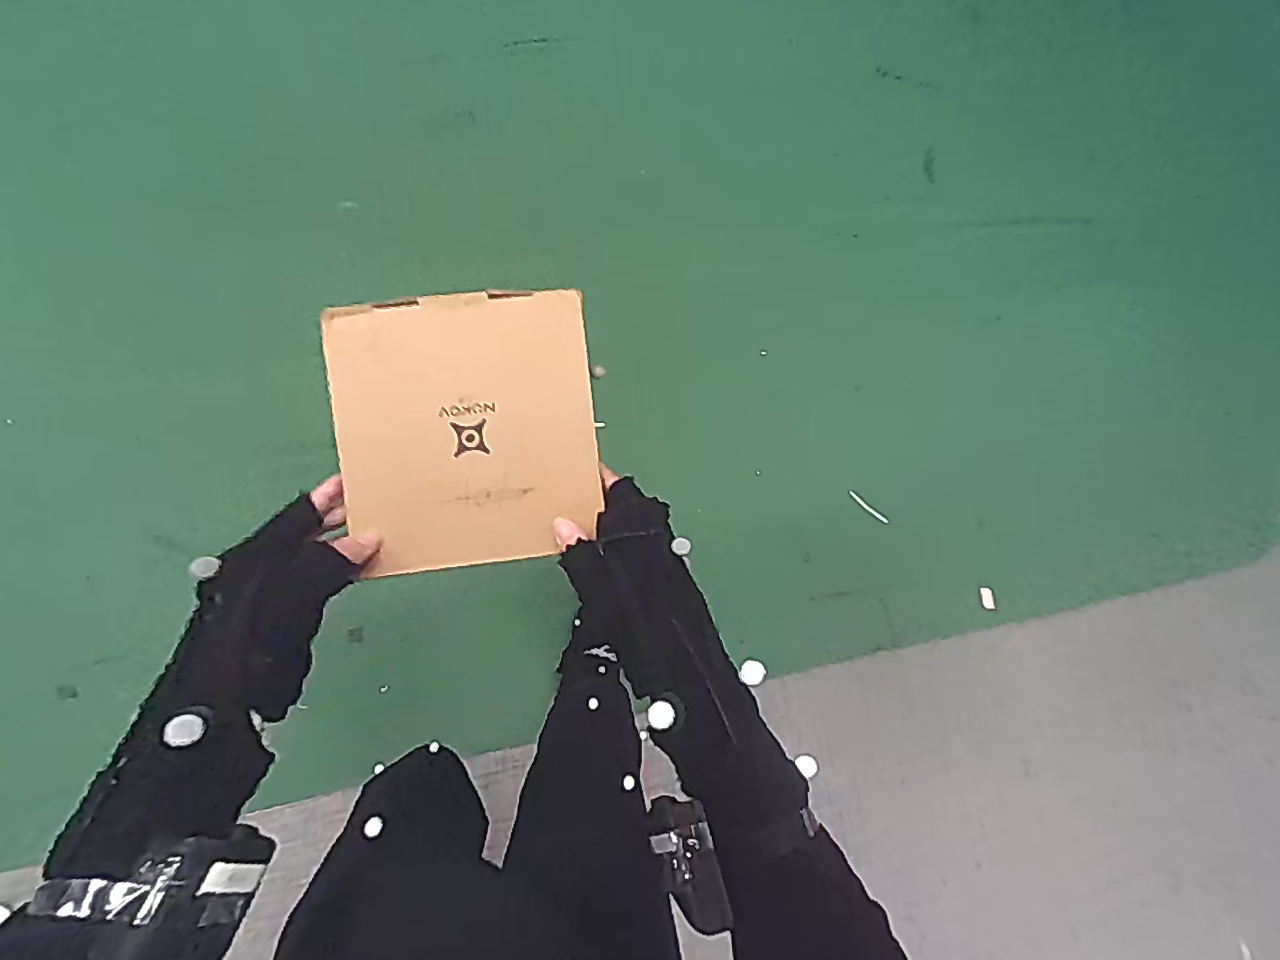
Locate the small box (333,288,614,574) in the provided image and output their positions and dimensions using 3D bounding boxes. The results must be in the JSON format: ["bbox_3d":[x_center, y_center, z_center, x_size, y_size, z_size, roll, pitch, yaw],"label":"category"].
[{"bbox_3d":[-0.111,-0.033,0.424,0.168,0.176,0.179,-5,92,-4],"label":"small box"}]
